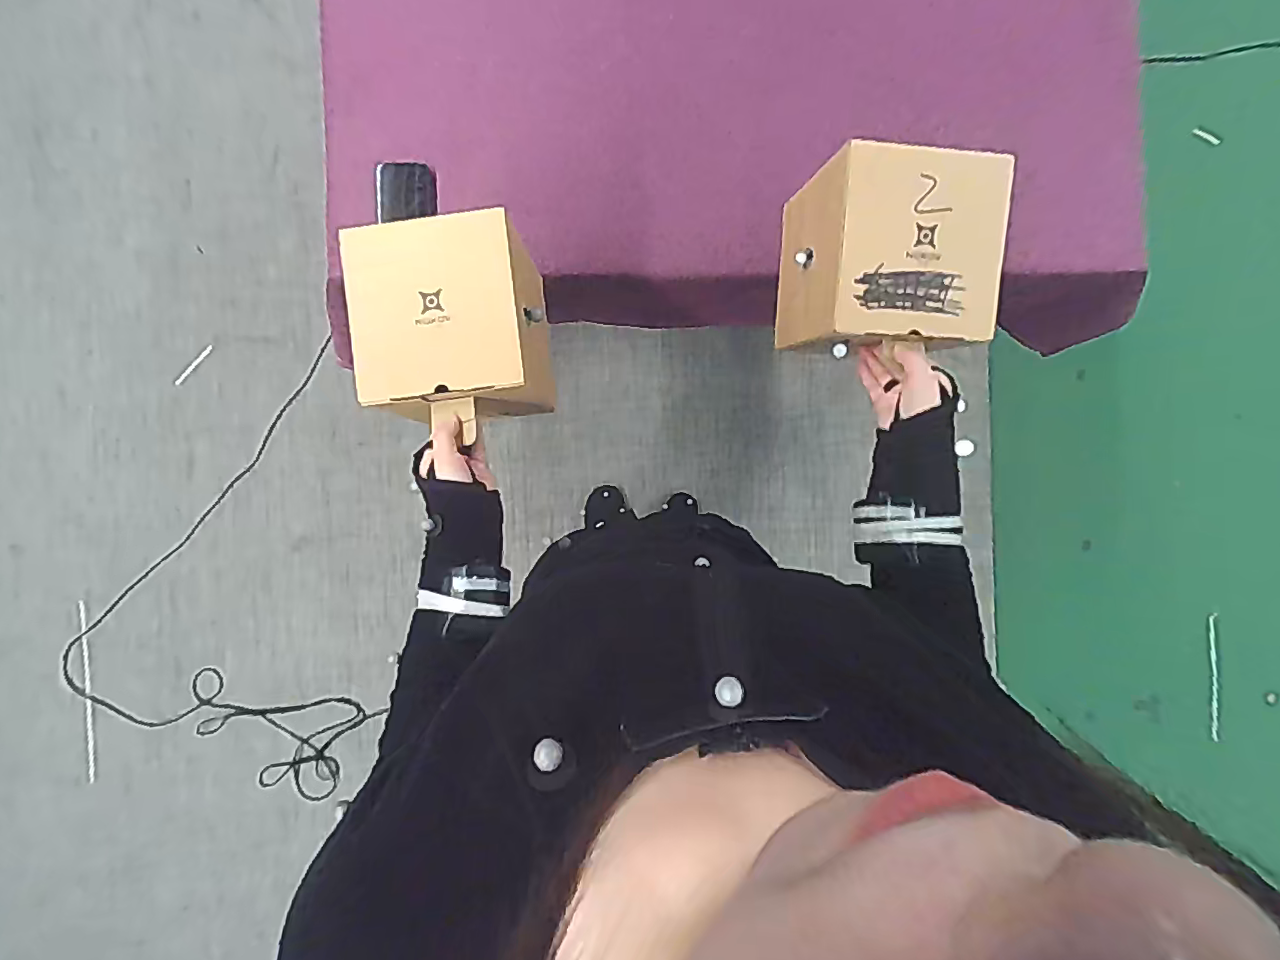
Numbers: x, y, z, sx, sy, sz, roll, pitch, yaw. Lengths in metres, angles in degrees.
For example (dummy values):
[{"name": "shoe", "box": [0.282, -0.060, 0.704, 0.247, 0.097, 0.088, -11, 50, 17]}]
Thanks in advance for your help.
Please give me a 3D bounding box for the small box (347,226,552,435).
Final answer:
[{"name": "small box", "box": [-0.201, -0.155, 0.613, 0.168, 0.176, 0.179, -7, 88, 1]}]
